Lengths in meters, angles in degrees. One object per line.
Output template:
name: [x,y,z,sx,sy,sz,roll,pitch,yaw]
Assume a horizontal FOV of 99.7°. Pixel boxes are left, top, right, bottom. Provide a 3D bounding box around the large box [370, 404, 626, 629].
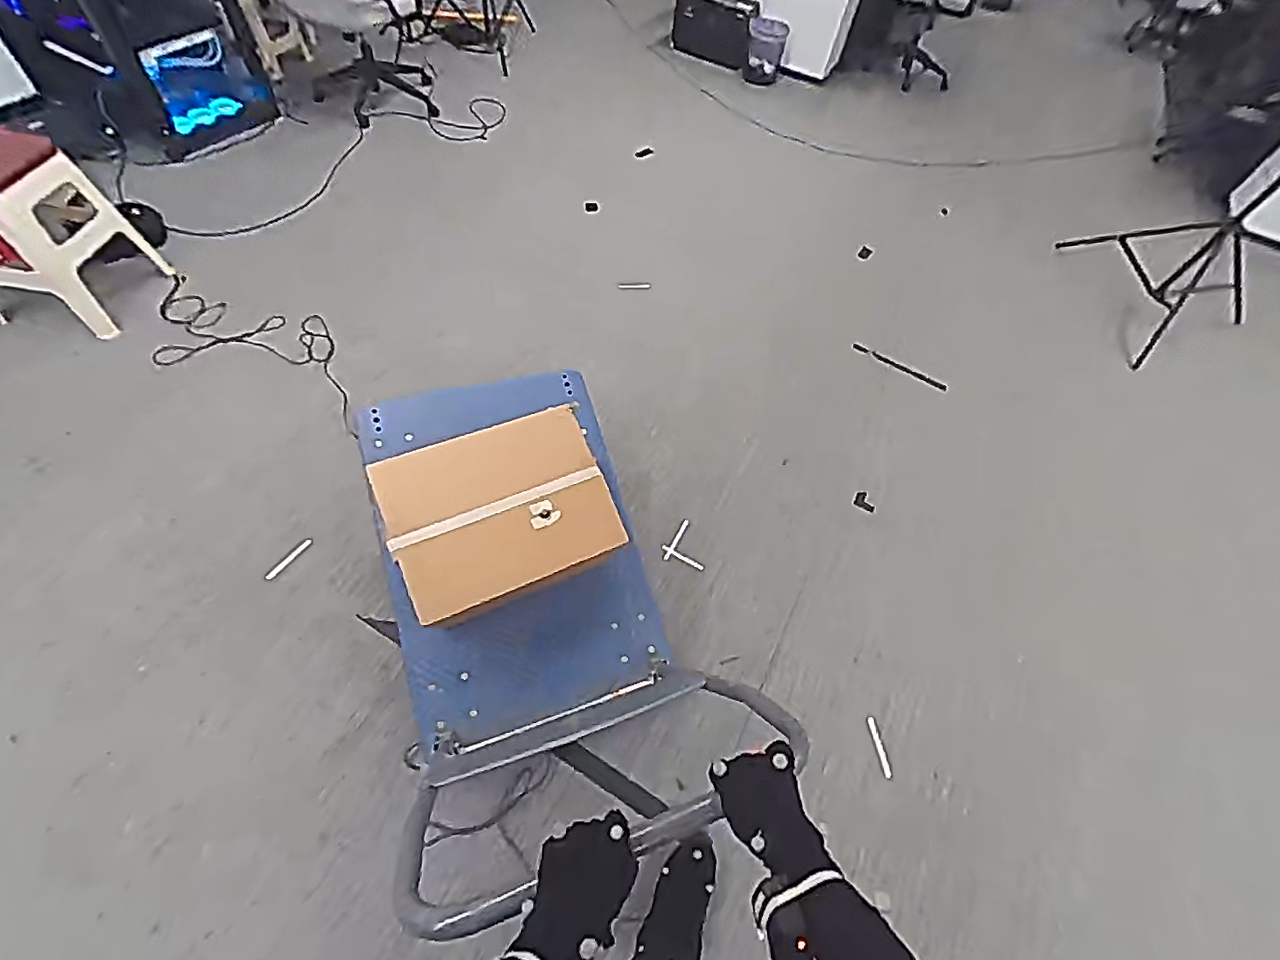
large box: [-0.298,0.089,1.167,0.408,0.320,0.320,-21,80,-20]
